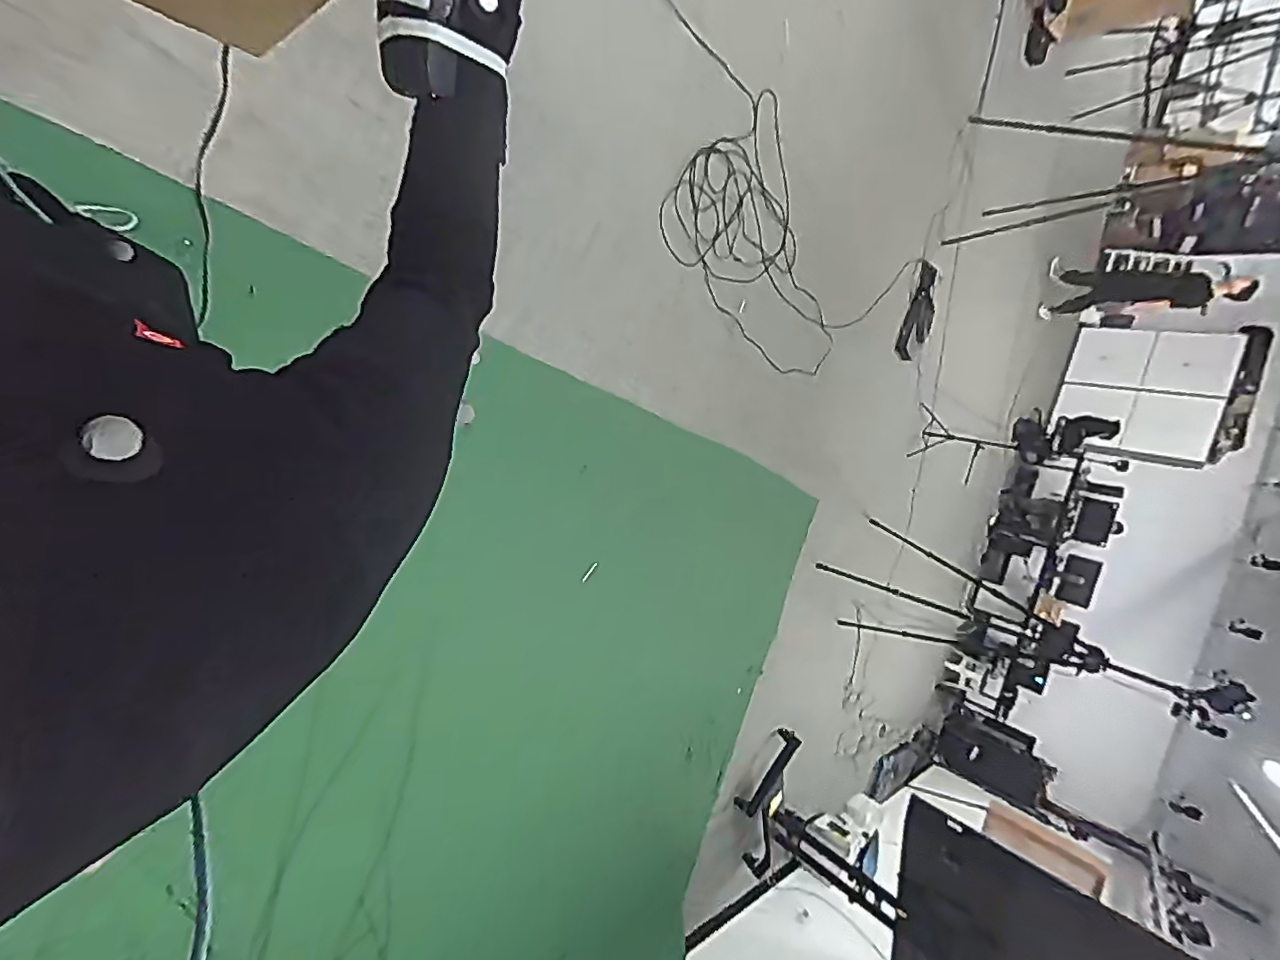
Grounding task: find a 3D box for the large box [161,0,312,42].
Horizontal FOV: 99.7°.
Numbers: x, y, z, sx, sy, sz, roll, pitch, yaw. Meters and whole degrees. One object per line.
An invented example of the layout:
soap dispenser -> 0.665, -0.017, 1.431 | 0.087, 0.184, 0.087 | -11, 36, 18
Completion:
large box -> -0.365, -0.510, 0.248 | 0.408, 0.320, 0.320 | -4, 110, -48
